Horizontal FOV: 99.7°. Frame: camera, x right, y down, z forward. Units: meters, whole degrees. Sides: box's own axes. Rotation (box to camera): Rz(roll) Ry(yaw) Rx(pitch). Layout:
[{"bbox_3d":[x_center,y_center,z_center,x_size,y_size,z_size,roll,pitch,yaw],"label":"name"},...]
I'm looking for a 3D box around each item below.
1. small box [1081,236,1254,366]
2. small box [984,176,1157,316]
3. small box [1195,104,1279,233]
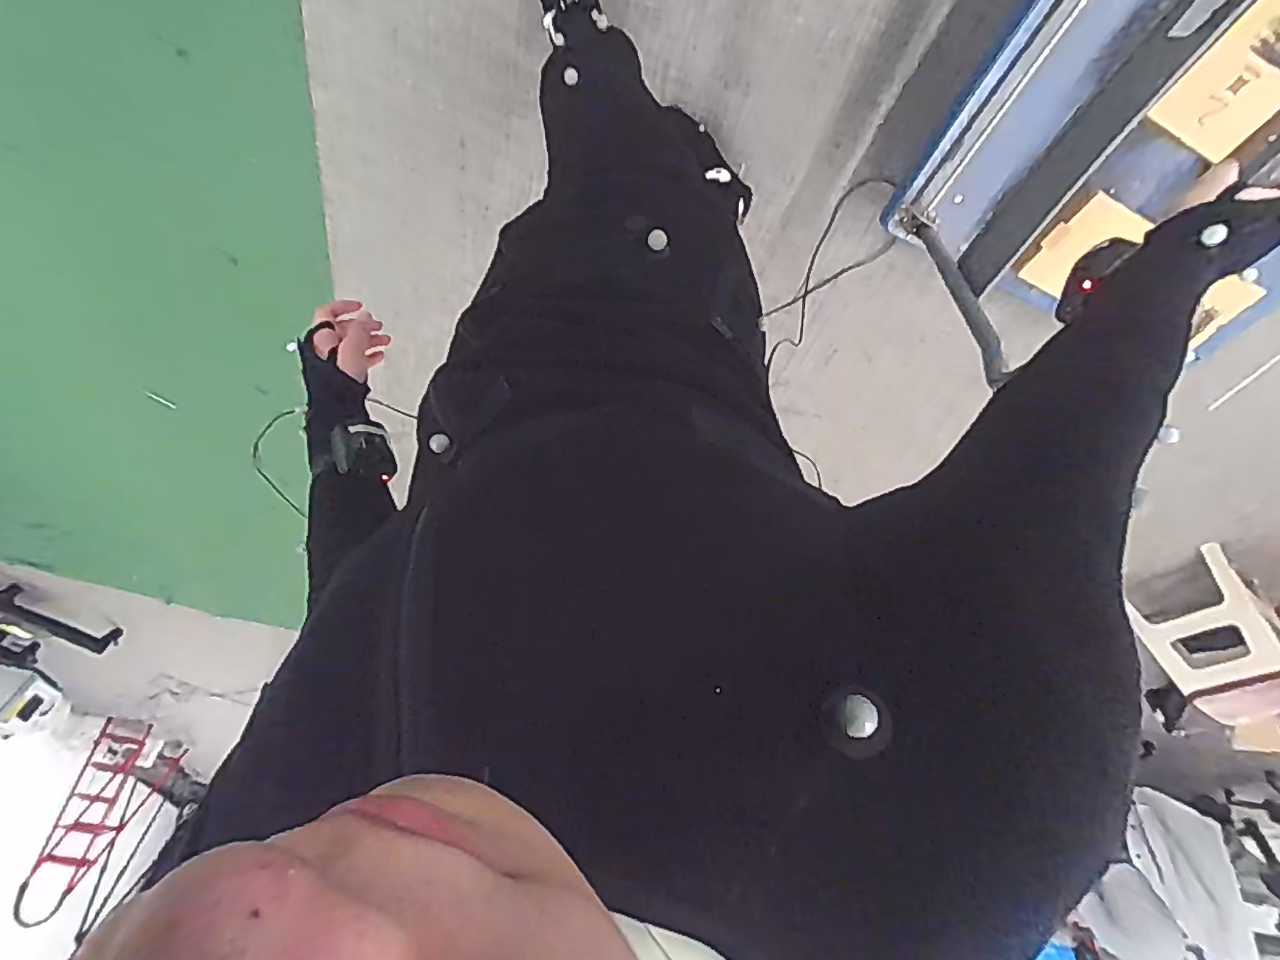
[{"bbox_3d":[1.051,-0.370,1.105,0.179,0.176,0.168,19,133,-9],"label":"small box"},{"bbox_3d":[0.825,-0.459,1.054,0.179,0.176,0.168,22,133,-12],"label":"small box"},{"bbox_3d":[1.143,-0.531,0.931,0.179,0.176,0.168,17,135,-8],"label":"small box"}]
